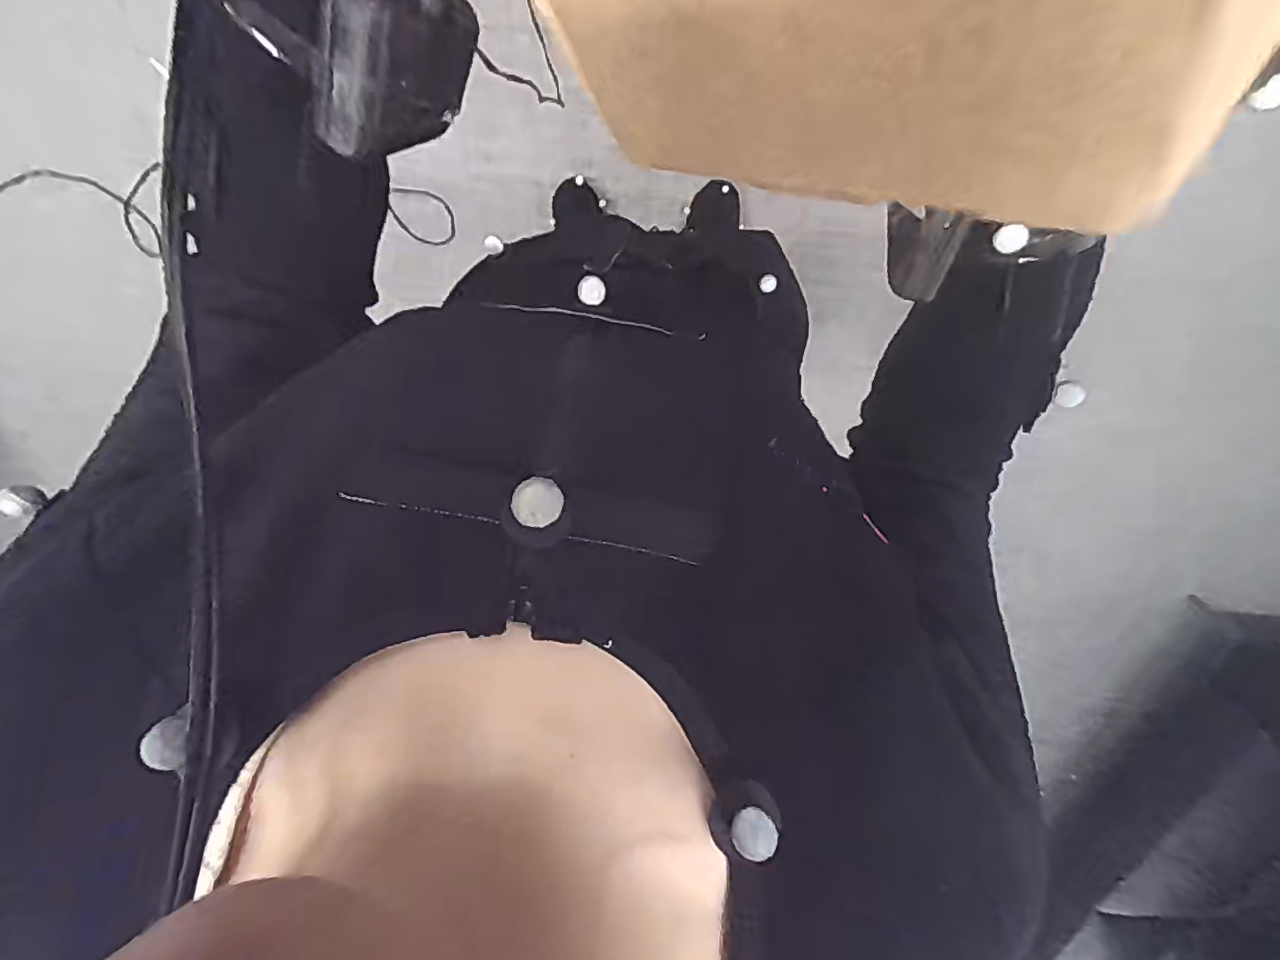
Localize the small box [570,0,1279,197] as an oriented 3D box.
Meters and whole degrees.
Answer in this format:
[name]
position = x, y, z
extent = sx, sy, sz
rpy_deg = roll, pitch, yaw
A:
[small box]
position = 0.069, -0.195, 0.104
extent = 0.176, 0.168, 0.179
rpy_deg = -53, 141, -6
